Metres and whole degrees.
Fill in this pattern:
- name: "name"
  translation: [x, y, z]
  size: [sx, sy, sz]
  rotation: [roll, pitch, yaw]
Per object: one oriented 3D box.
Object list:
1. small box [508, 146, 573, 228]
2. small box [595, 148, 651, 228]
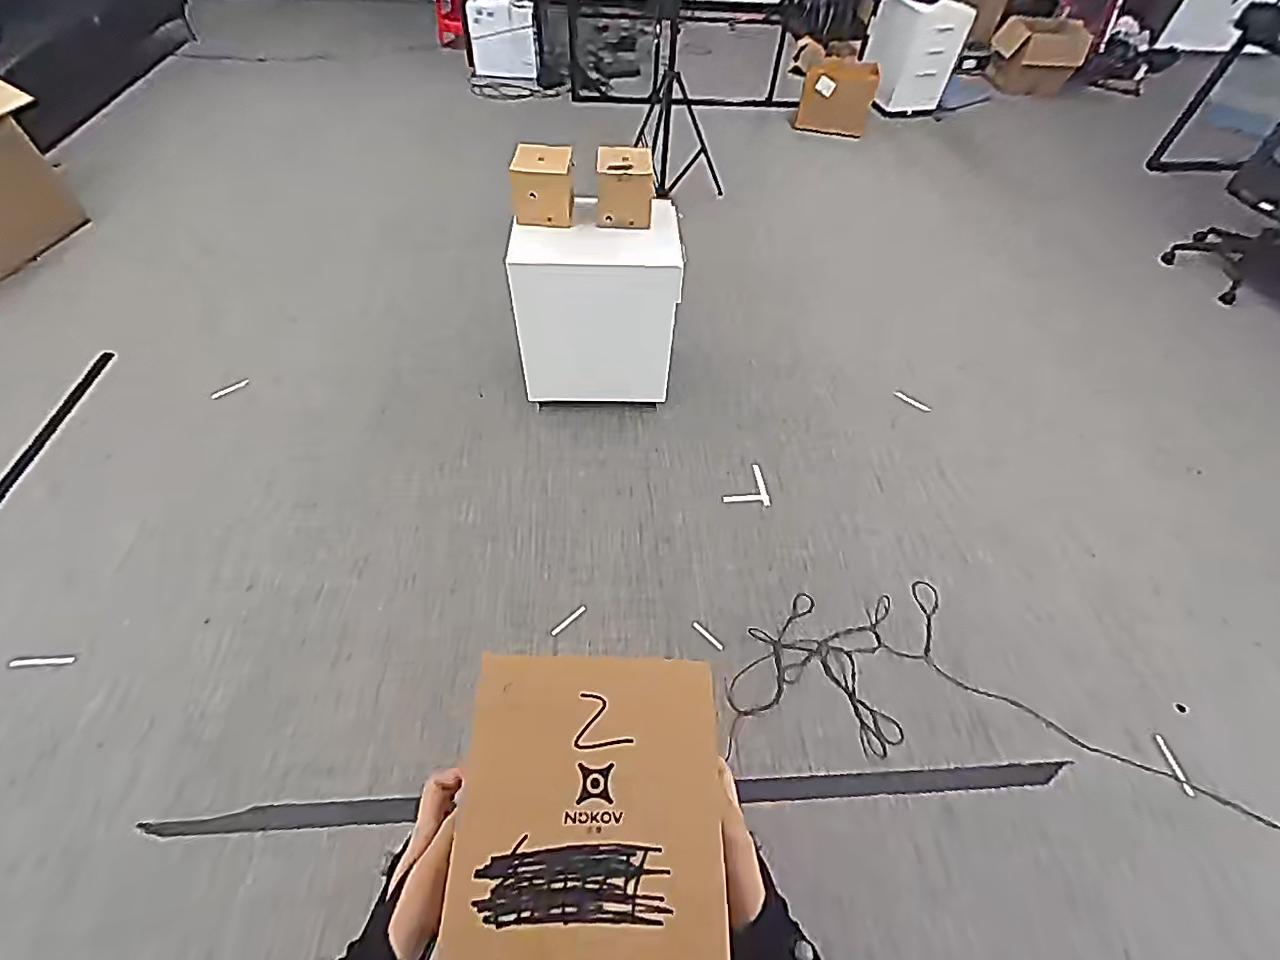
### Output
- name: "small box"
  translation: [-0.297, -0.896, 1.659]
  size: [0.168, 0.176, 0.179]
  rotation: [3, 53, -2]
- name: "small box"
  translation: [-0.052, -0.900, 1.674]
  size: [0.168, 0.176, 0.179]
  rotation: [0, 53, -2]
